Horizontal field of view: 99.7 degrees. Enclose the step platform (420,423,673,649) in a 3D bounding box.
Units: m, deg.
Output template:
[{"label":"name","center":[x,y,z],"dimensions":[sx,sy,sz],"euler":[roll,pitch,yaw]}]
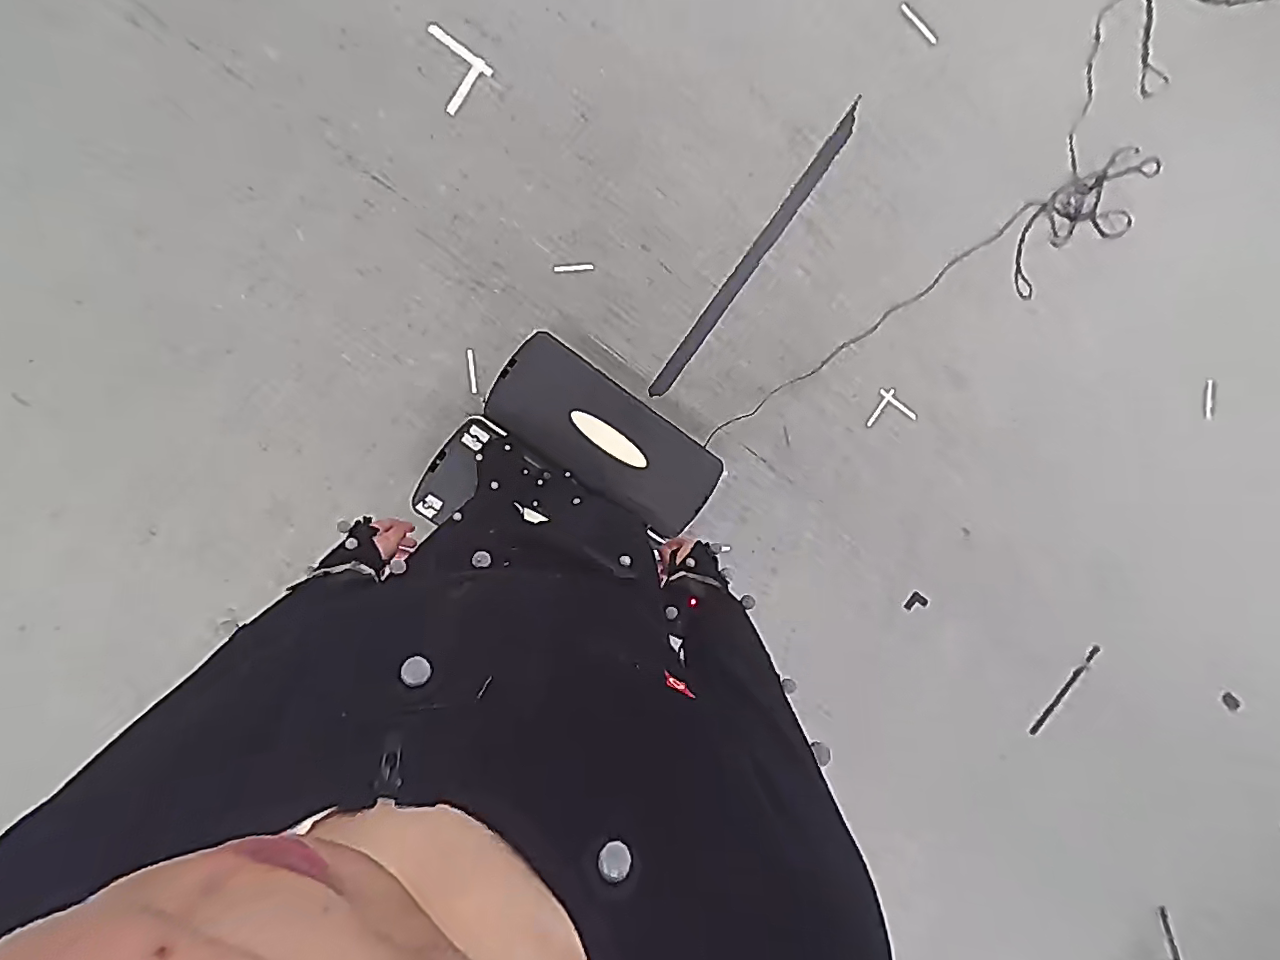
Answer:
[{"label":"step platform","center":[-0.239,0.154,1.467],"dimensions":[0.684,0.204,0.286],"euler":[39,89,-10]}]
